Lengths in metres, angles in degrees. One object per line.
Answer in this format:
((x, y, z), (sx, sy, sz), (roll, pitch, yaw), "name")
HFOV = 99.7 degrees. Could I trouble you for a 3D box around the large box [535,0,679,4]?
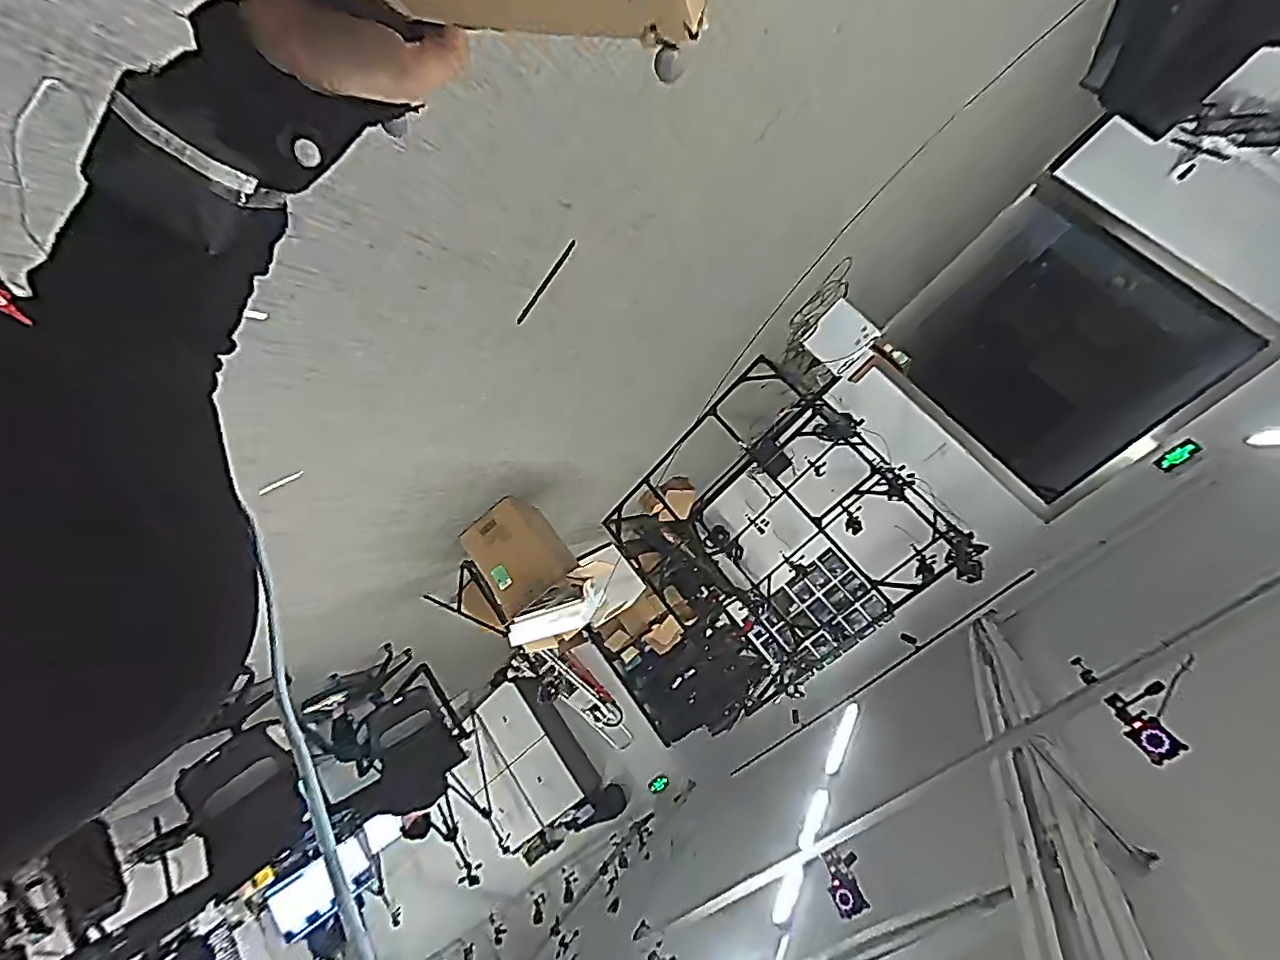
((-0.098, -0.386, 0.062), (0.408, 0.320, 0.320), (4, 108, -69), "large box")
